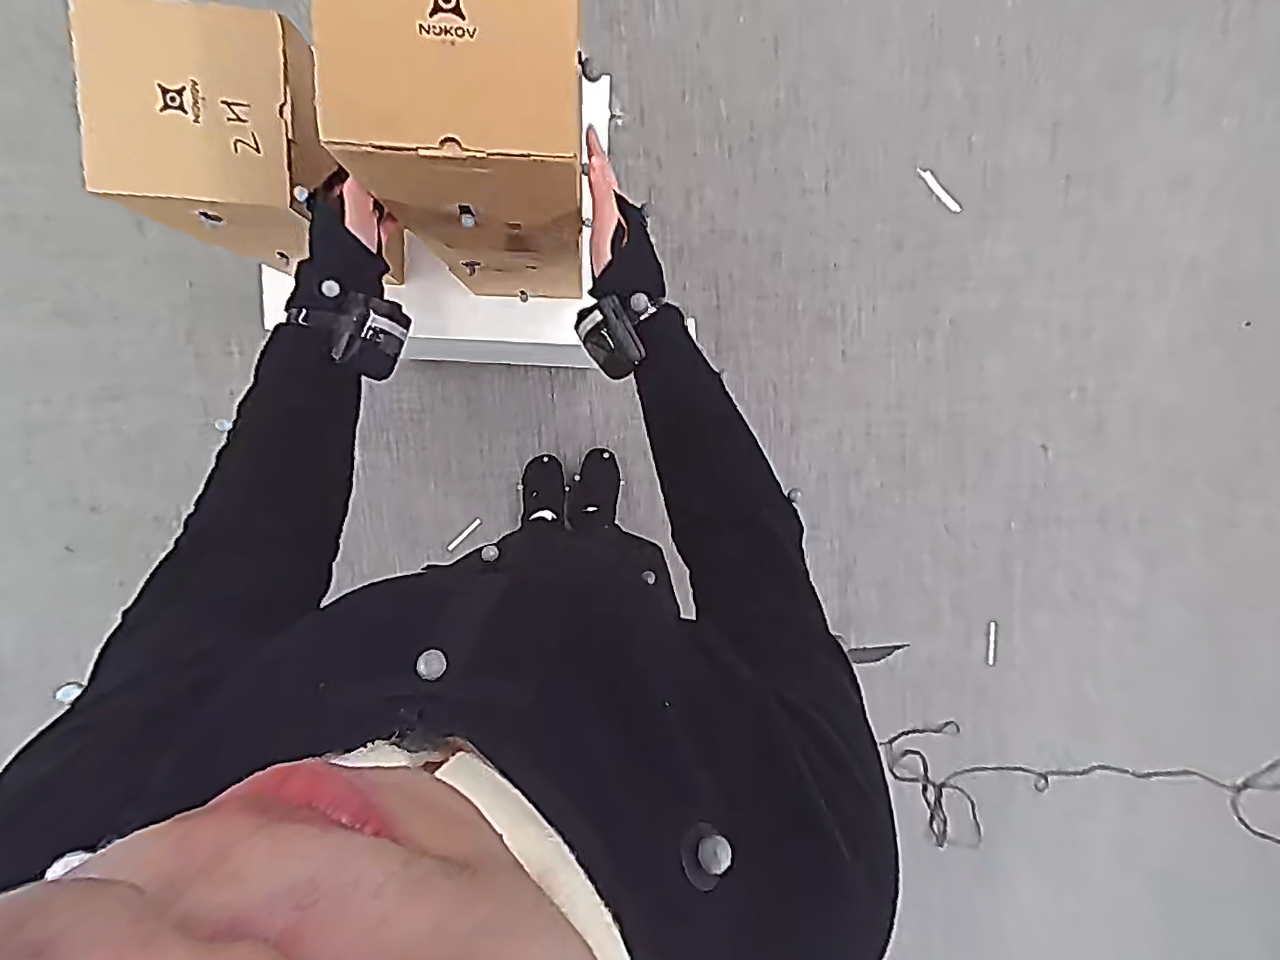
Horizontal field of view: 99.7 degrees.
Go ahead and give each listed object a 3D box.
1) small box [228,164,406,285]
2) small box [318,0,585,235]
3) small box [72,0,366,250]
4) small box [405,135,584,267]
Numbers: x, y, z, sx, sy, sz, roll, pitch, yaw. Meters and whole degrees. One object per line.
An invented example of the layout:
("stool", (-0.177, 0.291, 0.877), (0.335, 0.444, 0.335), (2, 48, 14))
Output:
("small box", (-0.421, -0.374, 0.716), (0.168, 0.176, 0.179), (3, 97, -5))
("small box", (-0.128, -0.311, 0.422), (0.168, 0.176, 0.179), (0, 99, -6))
("small box", (-0.406, -0.346, 0.554), (0.179, 0.176, 0.168), (2, 99, -6))
("small box", (-0.145, -0.337, 0.581), (0.168, 0.176, 0.179), (0, 98, -6))
